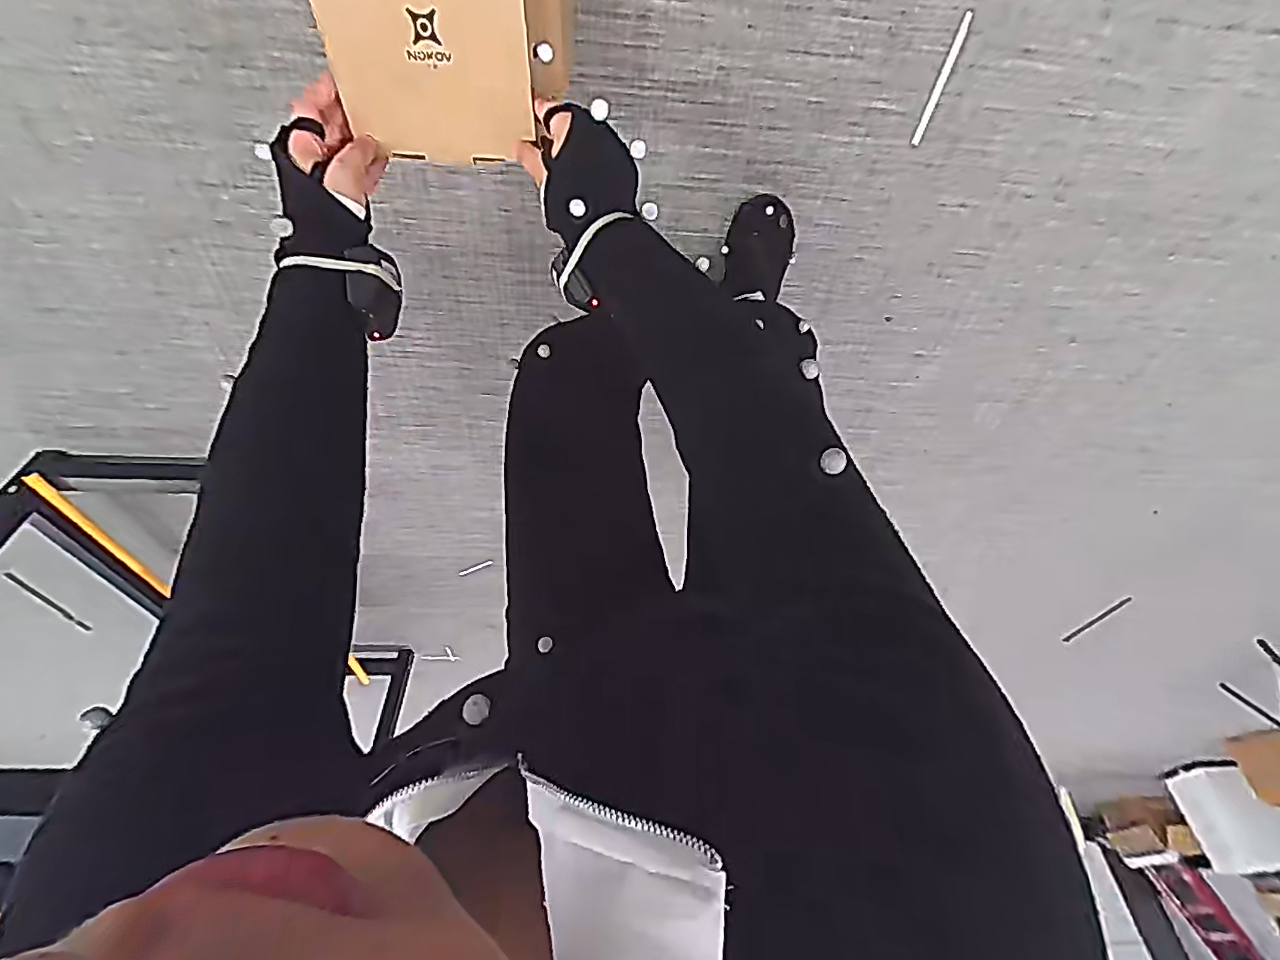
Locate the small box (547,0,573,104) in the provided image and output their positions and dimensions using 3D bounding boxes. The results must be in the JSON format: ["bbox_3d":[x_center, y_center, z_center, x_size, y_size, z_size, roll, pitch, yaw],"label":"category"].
[{"bbox_3d":[-0.162,-0.545,0.590,0.168,0.176,0.179,4,139,-5],"label":"small box"}]

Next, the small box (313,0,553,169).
[{"bbox_3d":[-0.172,-0.413,0.490,0.168,0.176,0.179,2,139,-3],"label":"small box"}]
